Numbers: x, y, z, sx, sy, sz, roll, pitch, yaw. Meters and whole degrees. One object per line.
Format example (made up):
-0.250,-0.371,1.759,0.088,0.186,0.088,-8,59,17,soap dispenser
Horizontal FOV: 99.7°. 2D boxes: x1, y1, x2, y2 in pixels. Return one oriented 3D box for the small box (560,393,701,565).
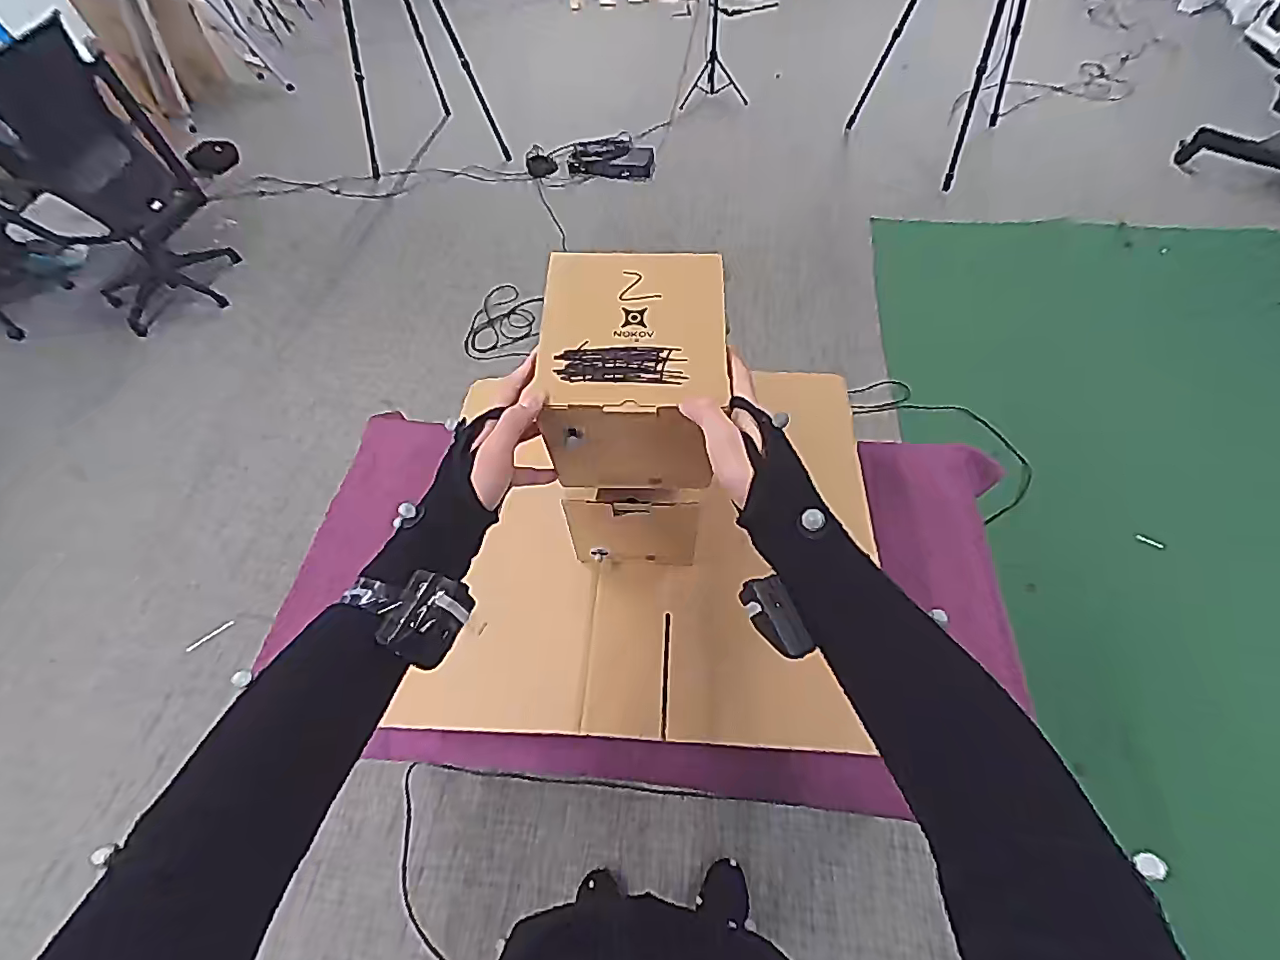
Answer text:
-0.004,0.003,0.734,0.168,0.176,0.179,2,56,3,small box
